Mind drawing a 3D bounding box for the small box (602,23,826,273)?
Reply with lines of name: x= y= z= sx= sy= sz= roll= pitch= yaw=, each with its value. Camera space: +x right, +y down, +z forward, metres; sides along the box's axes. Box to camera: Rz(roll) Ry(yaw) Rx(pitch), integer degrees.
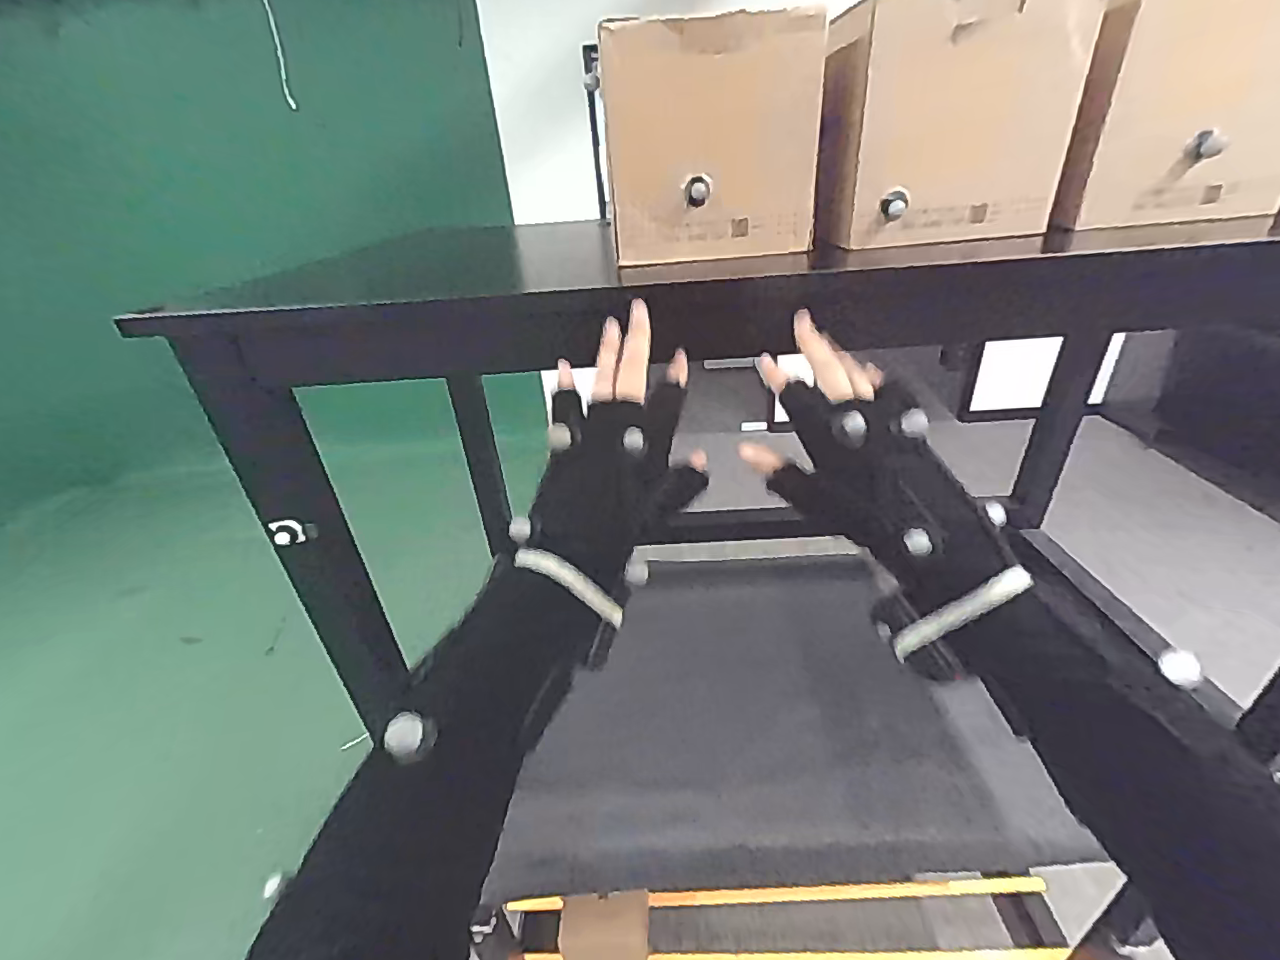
small box: x=0.055 y=-0.294 z=0.501 sx=0.168 sy=0.176 sz=0.179 roll=-5 pitch=31 yaw=-1
